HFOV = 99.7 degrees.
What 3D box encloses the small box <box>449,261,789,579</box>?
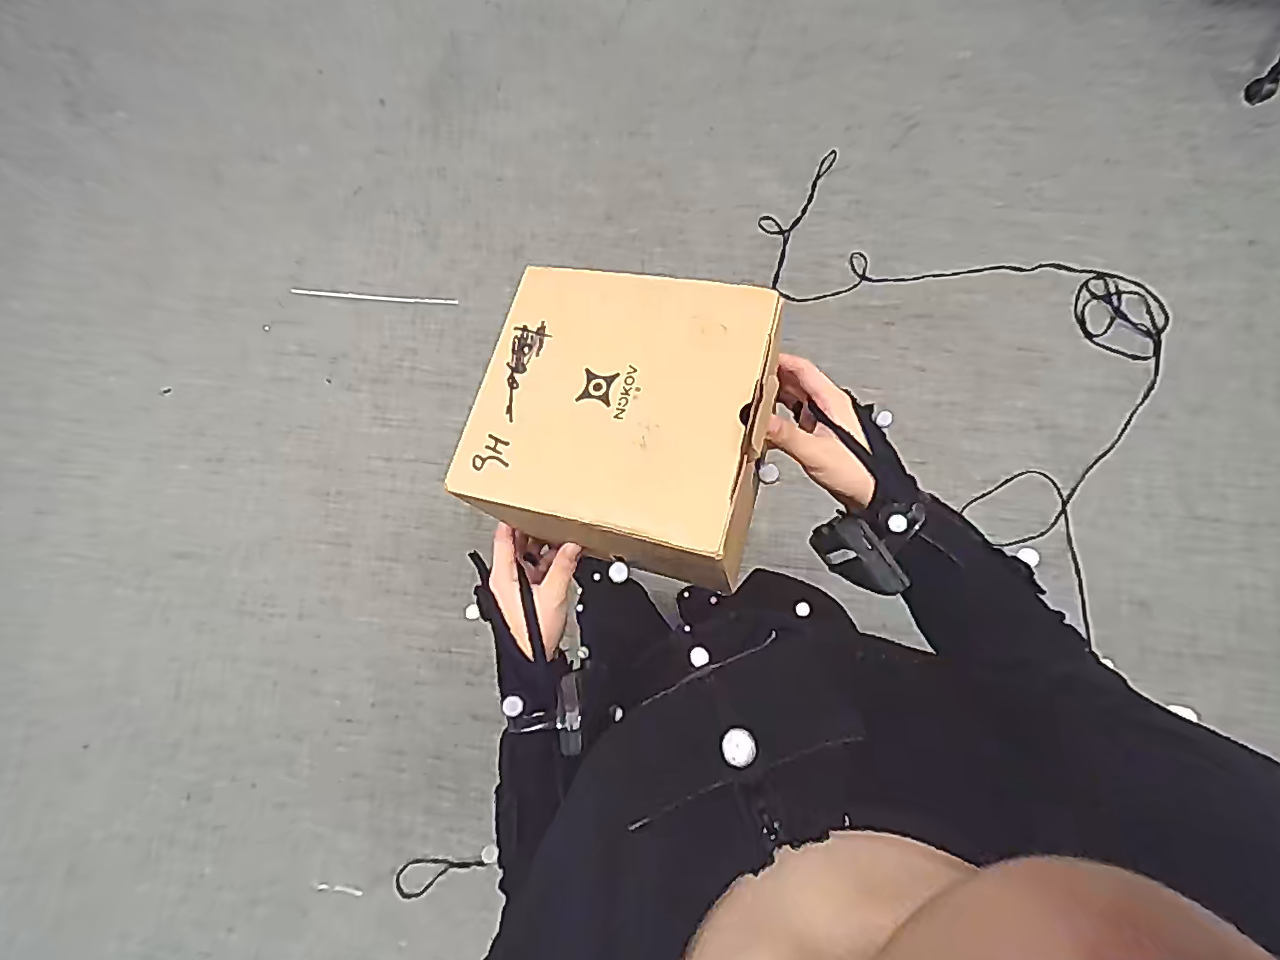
[{"bbox_3d":[0.000,-0.031,0.404,0.179,0.176,0.168,14,75,15],"label":"small box"}]
